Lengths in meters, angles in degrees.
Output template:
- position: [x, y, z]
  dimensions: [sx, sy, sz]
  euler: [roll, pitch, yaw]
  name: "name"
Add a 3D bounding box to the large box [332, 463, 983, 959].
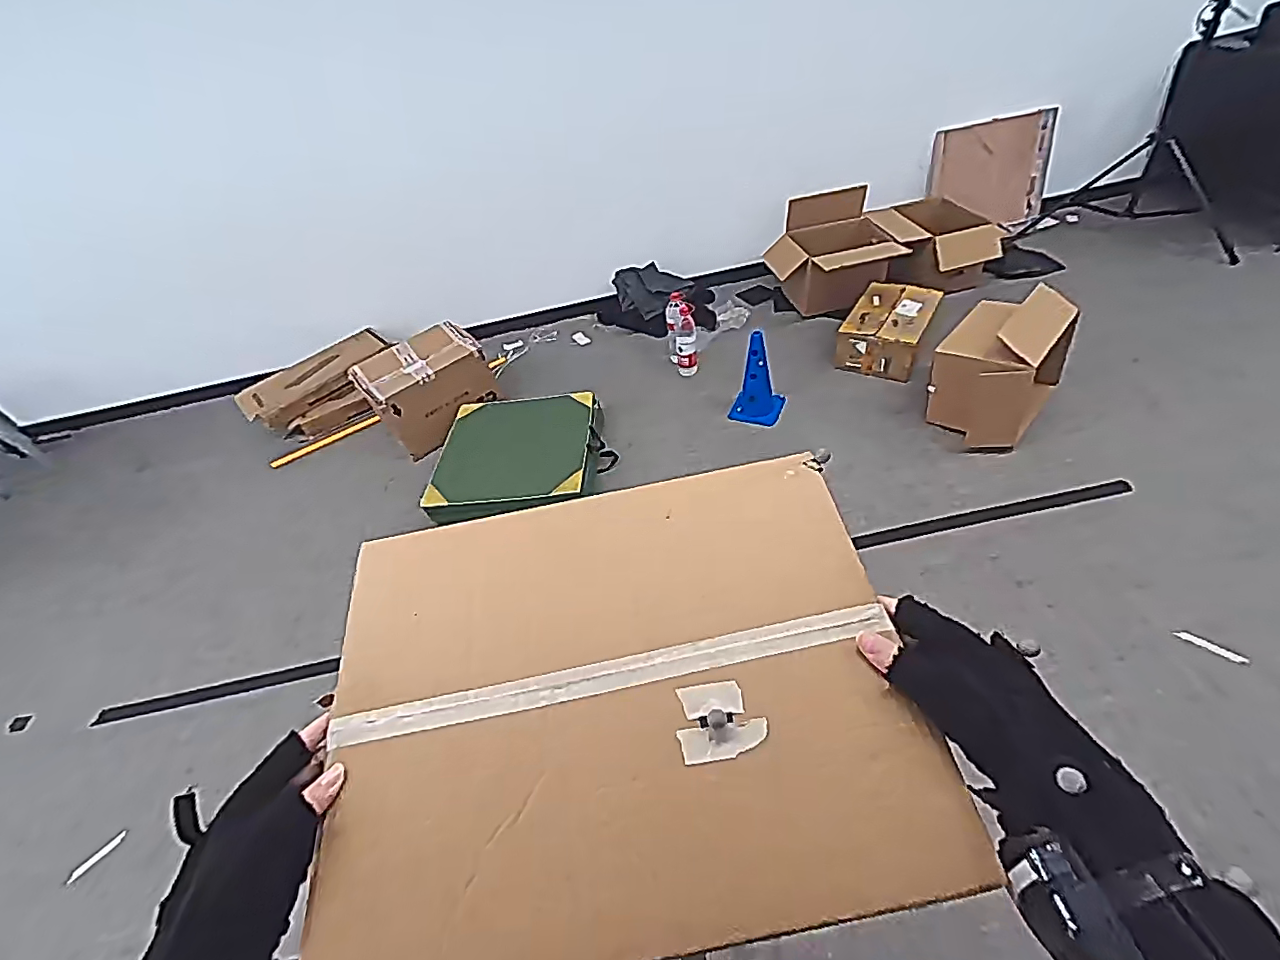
- position: [-0.001, 0.231, 0.521]
  dimensions: [0.408, 0.320, 0.320]
  euler: [-12, 55, -1]
  name: "large box"
